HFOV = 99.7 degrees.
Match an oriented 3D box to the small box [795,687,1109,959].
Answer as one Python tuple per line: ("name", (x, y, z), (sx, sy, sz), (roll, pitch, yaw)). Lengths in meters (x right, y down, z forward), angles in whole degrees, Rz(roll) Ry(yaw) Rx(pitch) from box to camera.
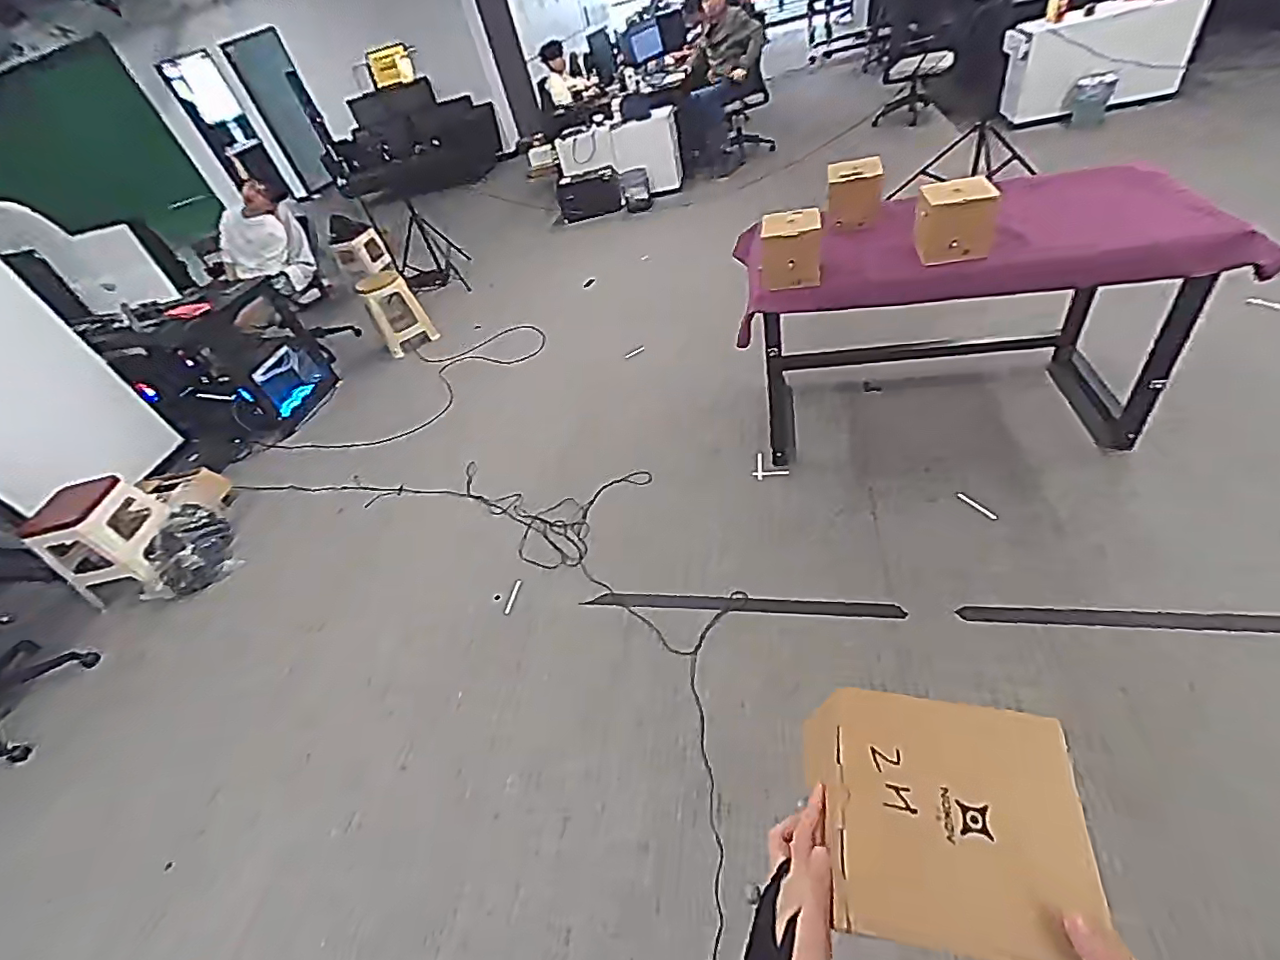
("small box", (0.240, 0.298, 0.471), (0.179, 0.176, 0.168), (5, 54, 9))

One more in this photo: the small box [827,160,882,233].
("small box", (0.724, -0.953, 1.834), (0.168, 0.176, 0.179), (0, 45, 18))

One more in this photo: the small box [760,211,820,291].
("small box", (0.459, -0.686, 1.638), (0.168, 0.176, 0.179), (-1, 45, 17))

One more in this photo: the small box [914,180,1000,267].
("small box", (0.895, -0.730, 1.545), (0.168, 0.176, 0.179), (-3, 43, 15))
